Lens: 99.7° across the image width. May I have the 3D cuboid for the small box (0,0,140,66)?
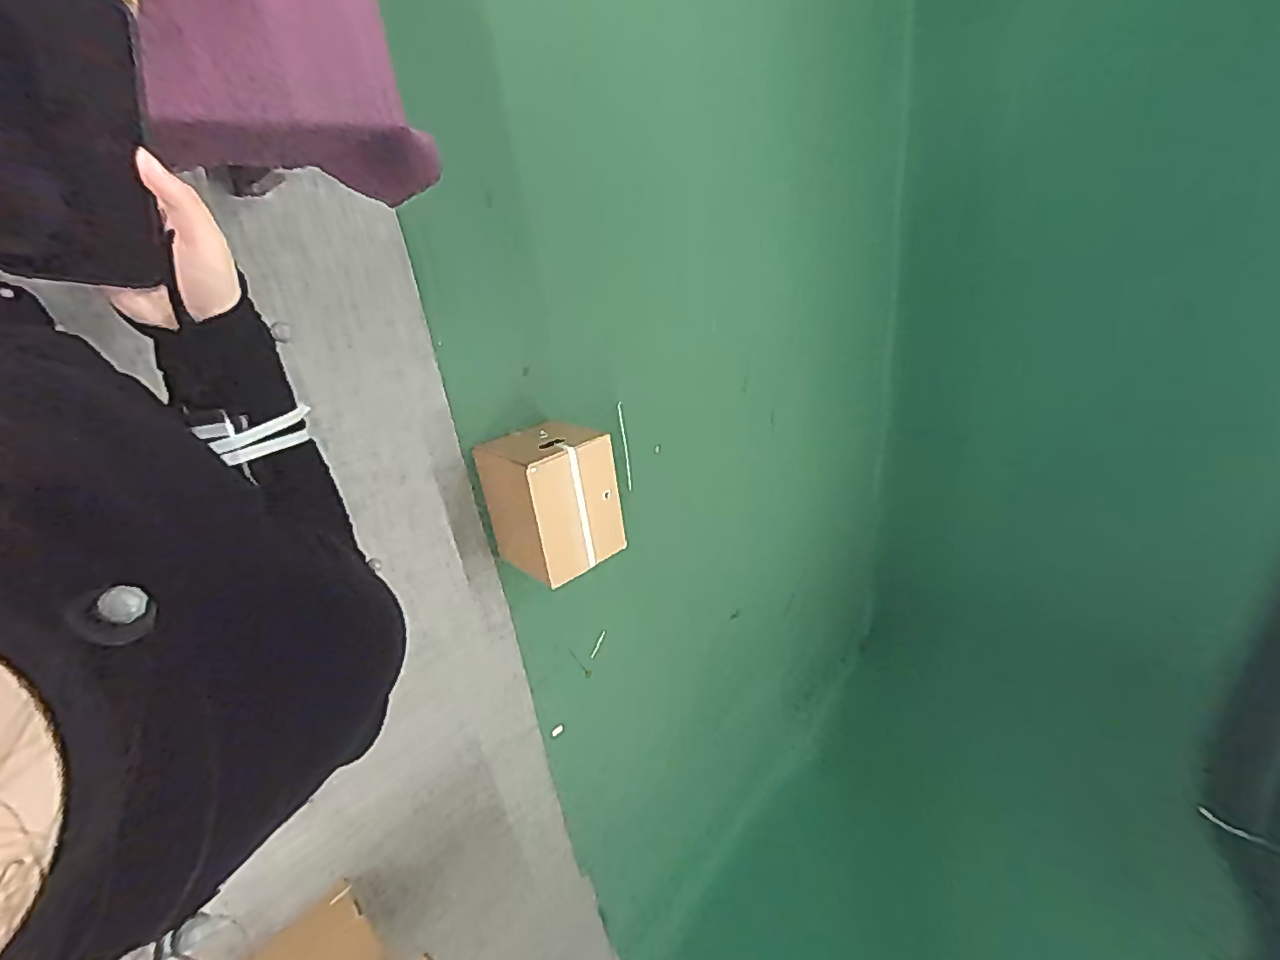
[{"bbox_3d":[-0.505,-0.441,0.390,0.168,0.176,0.179,-22,118,-39],"label":"small box"}]
